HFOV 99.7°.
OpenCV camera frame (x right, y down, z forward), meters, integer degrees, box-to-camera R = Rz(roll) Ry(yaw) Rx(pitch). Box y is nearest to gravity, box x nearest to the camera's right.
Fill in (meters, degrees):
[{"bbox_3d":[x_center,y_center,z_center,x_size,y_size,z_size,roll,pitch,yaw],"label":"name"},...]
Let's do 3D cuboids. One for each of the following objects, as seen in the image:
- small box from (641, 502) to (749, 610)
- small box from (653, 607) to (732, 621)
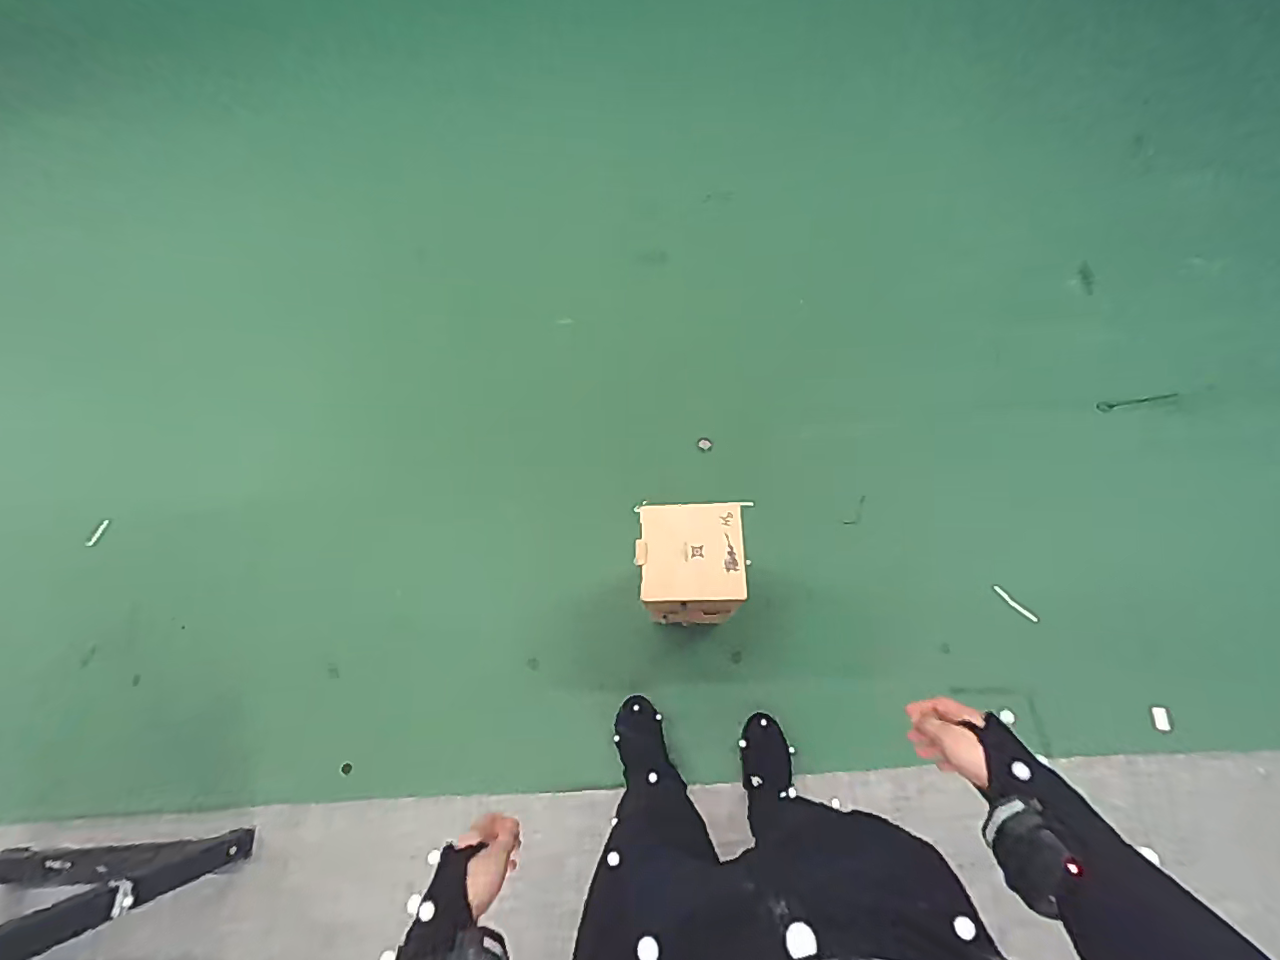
[{"bbox_3d":[0.095,0.143,0.977,0.179,0.176,0.168,-2,71,3],"label":"small box"},{"bbox_3d":[0.119,0.246,1.288,0.179,0.176,0.168,0,72,2],"label":"small box"}]
